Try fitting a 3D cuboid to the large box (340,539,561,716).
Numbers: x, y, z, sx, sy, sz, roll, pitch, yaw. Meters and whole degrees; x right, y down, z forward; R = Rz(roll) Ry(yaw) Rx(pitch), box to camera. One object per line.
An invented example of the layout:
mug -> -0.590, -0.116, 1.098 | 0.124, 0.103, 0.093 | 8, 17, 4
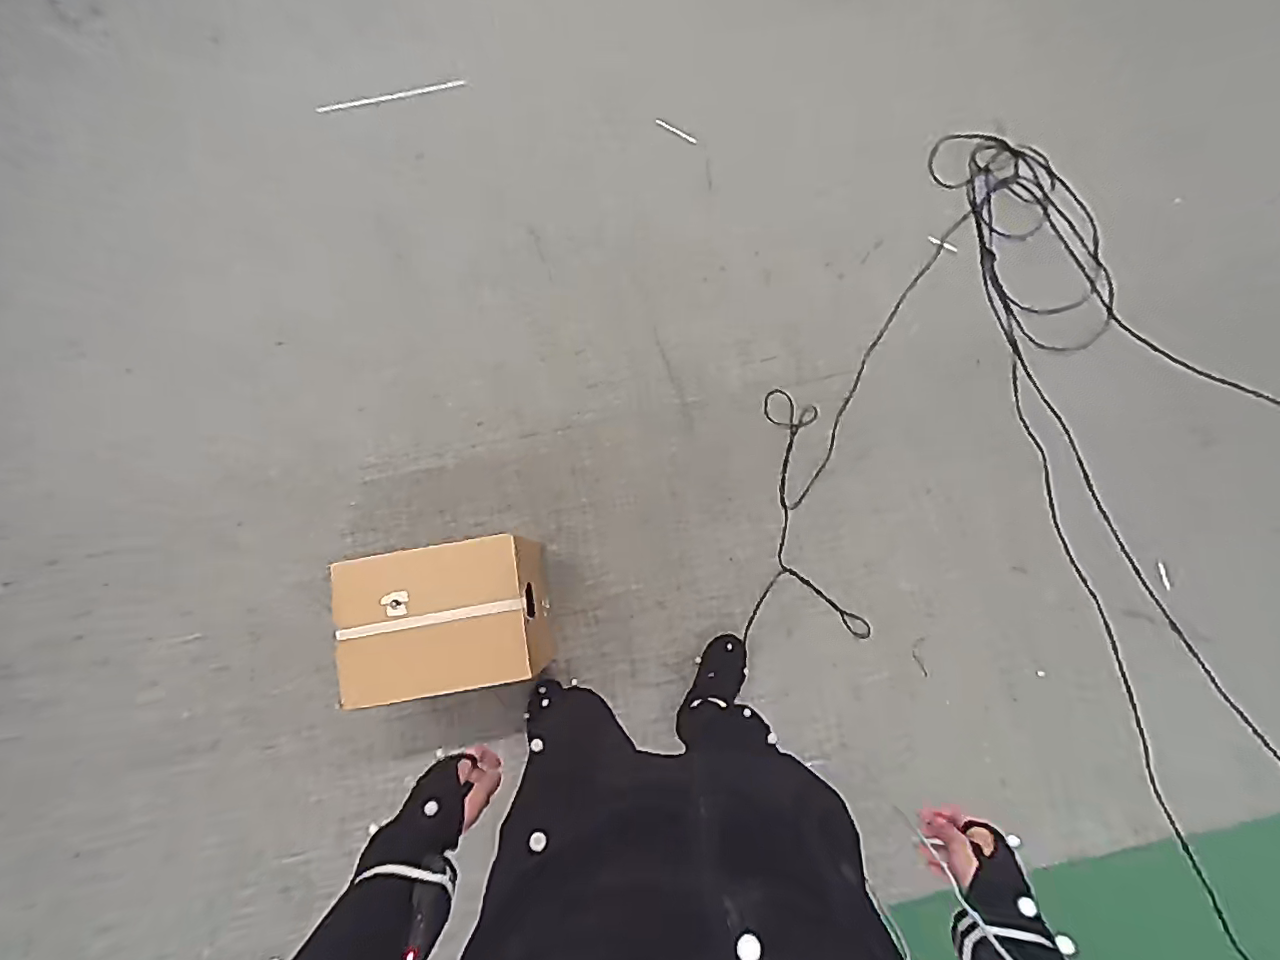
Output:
large box -> -0.435, 0.339, 1.313 | 0.408, 0.320, 0.320 | -10, 79, 0
